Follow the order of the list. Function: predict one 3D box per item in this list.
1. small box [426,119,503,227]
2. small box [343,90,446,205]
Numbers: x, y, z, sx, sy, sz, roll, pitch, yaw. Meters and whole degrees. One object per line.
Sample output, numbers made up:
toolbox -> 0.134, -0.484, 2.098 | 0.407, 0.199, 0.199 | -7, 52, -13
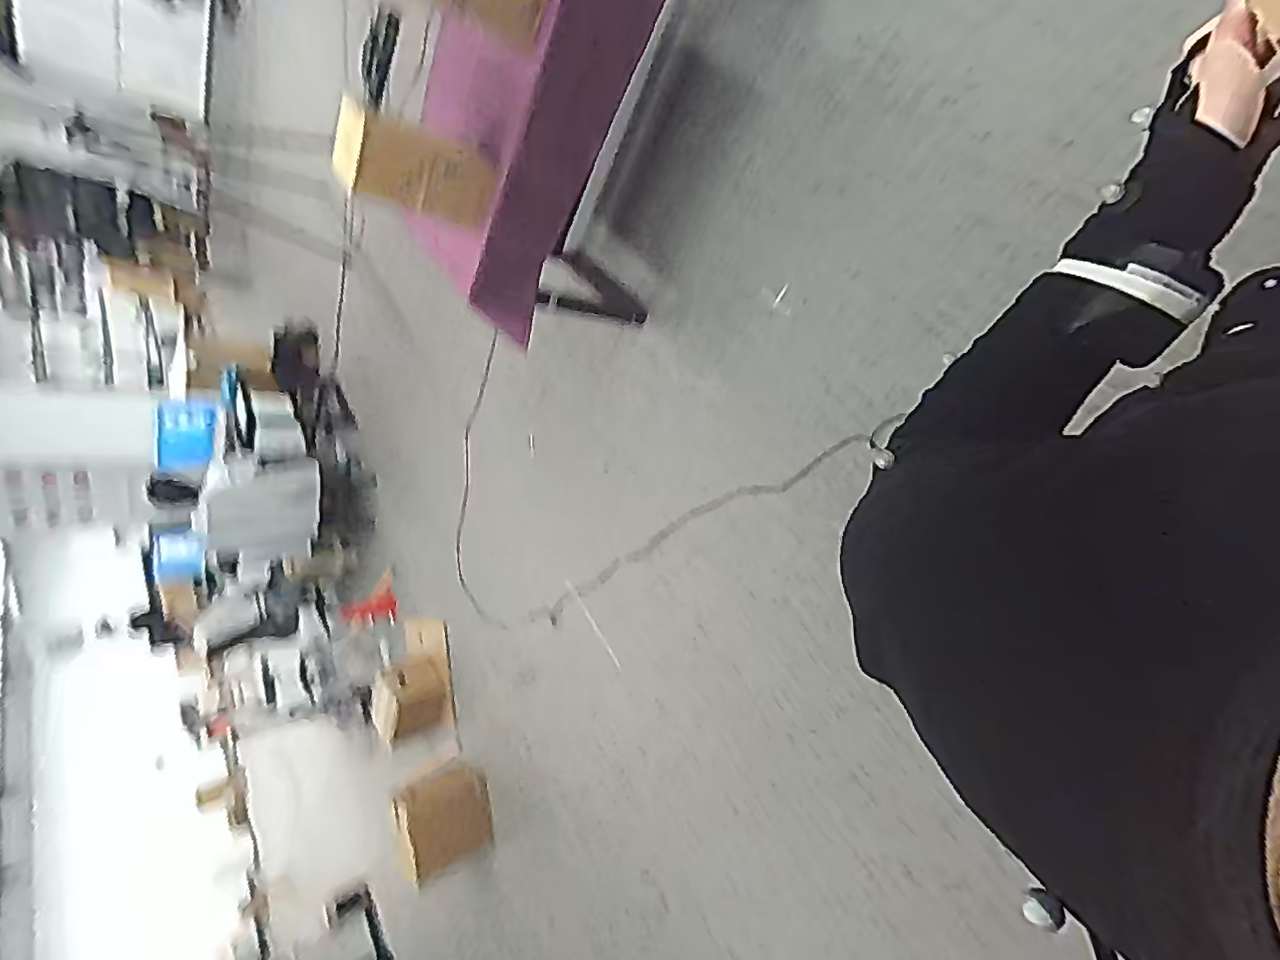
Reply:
small box -> -0.490, -0.820, 1.455 | 0.168, 0.176, 0.179 | 53, 126, 29
small box -> -0.611, -0.817, 1.346 | 0.179, 0.176, 0.168 | 53, 126, 28
